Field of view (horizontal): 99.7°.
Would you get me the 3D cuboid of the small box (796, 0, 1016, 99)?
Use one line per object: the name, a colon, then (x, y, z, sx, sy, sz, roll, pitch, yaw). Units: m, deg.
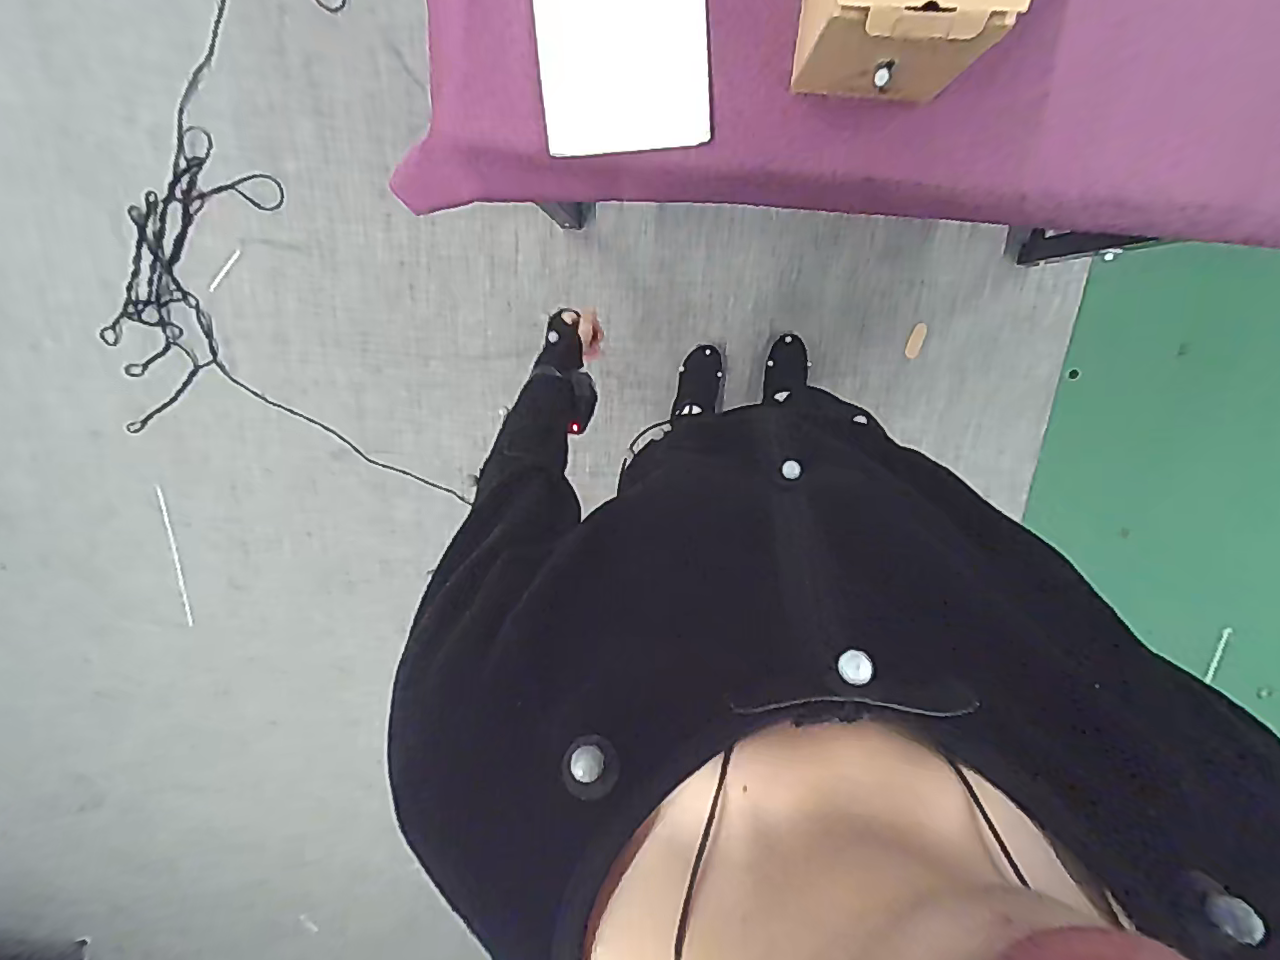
small box: (0.262, -0.511, 0.539, 0.168, 0.176, 0.179, 5, 106, 2)
